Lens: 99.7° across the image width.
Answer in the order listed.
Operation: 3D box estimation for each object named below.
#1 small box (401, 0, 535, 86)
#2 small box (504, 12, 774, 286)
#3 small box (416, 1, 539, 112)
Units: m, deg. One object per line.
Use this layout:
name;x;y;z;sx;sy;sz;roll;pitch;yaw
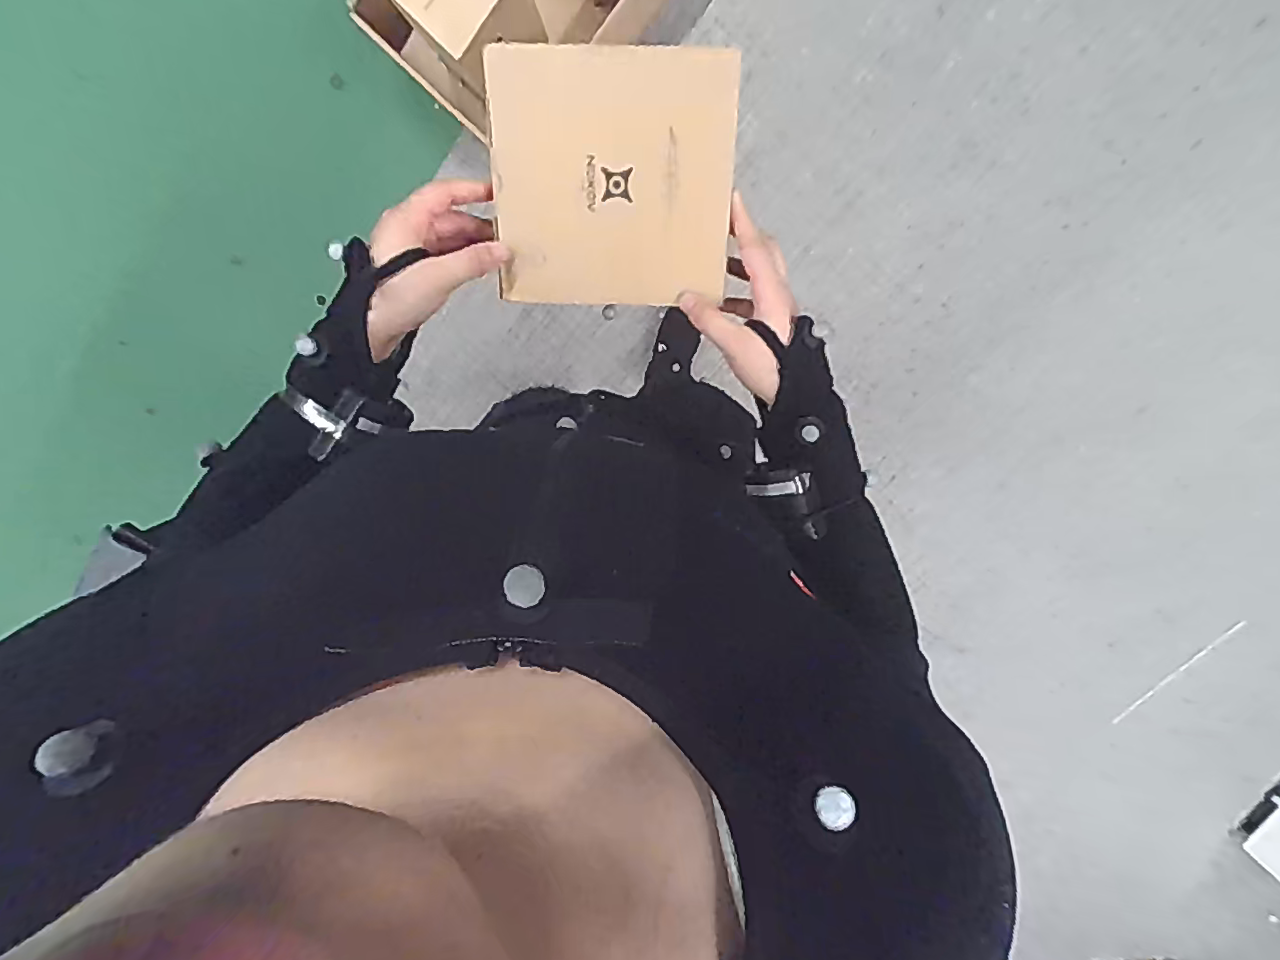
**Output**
small box;-0.297;-0.831;0.918;0.168;0.176;0.179;41;104;-12
small box;-0.001;-0.252;0.449;0.179;0.176;0.168;0;113;0
small box;-0.300;-0.884;1.074;0.168;0.176;0.179;40;103;-12
